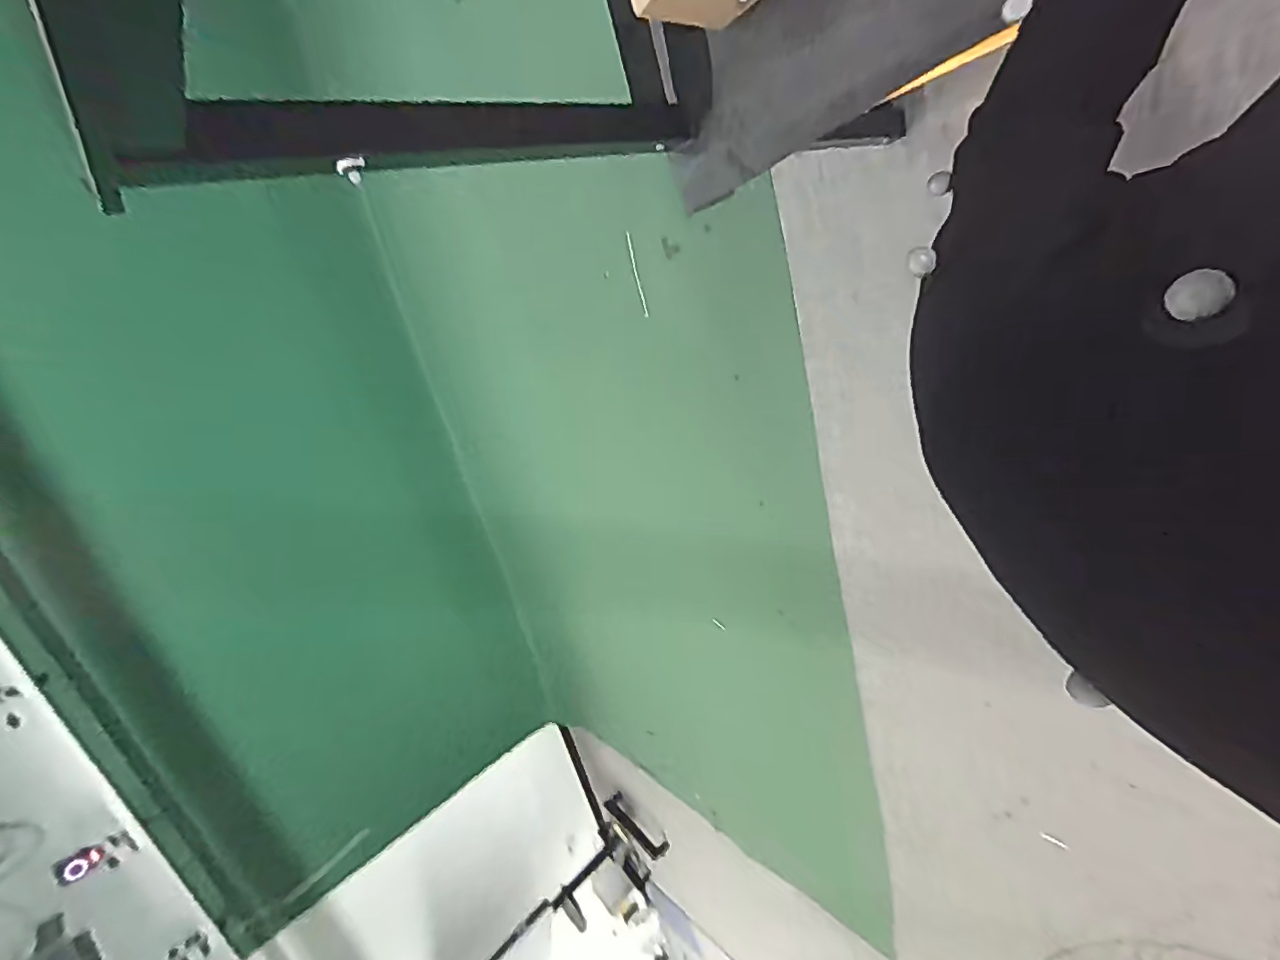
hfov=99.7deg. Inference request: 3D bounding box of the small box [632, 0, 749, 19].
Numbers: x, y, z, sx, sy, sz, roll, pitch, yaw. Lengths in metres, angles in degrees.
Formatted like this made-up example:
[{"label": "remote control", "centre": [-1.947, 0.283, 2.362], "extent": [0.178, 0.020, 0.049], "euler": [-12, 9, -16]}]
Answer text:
[{"label": "small box", "centre": [0.080, -0.681, 0.621], "extent": [0.168, 0.176, 0.179], "euler": [3, 115, 51]}]
